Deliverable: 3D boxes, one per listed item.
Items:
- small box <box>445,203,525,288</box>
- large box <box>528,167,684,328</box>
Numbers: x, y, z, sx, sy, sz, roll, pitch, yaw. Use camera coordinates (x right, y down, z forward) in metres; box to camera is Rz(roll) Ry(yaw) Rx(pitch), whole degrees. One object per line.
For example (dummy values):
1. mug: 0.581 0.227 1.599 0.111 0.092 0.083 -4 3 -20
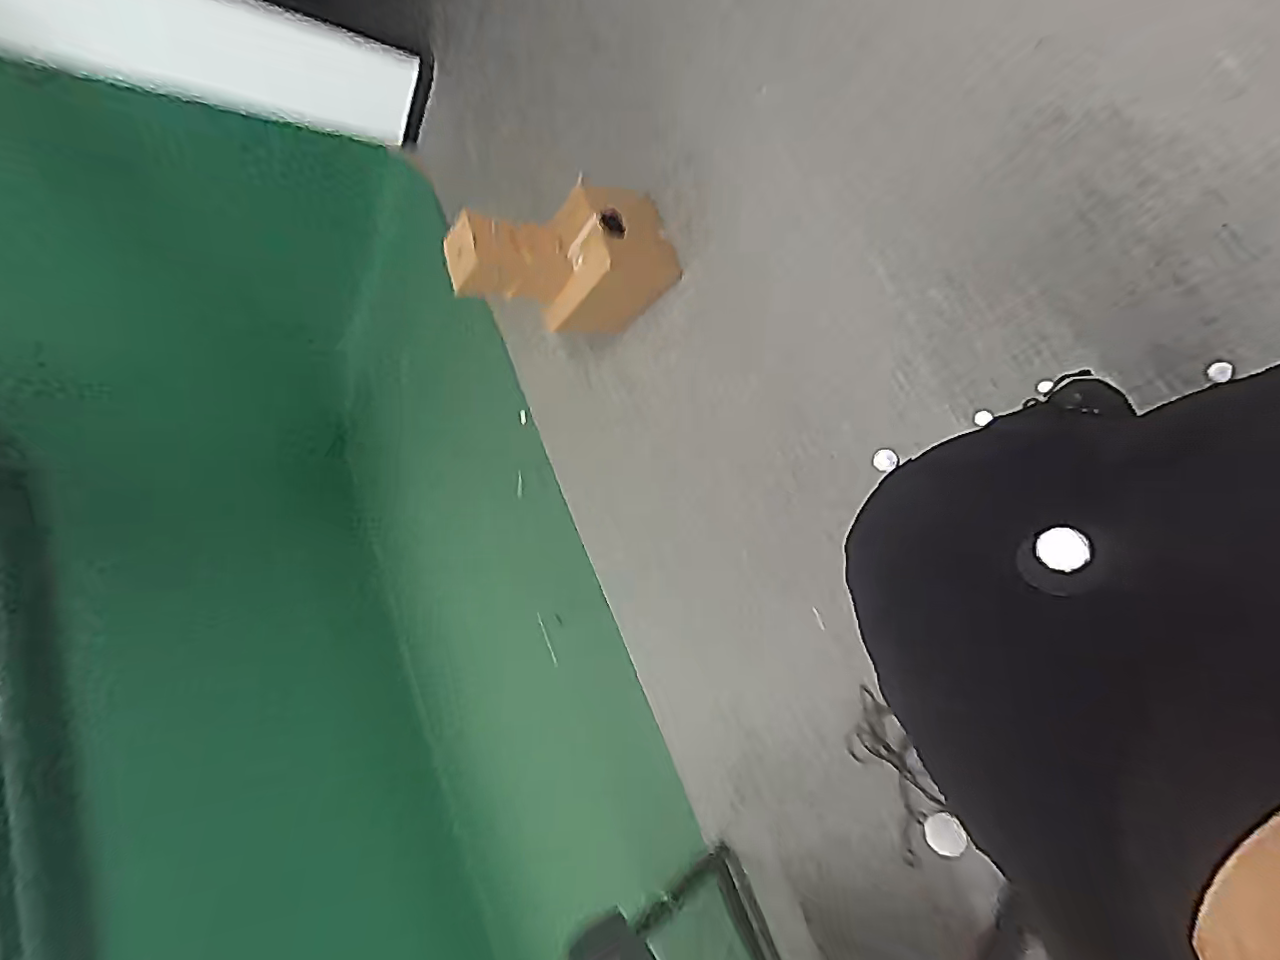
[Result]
1. small box: -0.461 -0.698 1.630 0.179 0.176 0.168 -22 81 49
2. large box: -0.124 -0.765 1.855 0.408 0.320 0.320 -29 78 47
